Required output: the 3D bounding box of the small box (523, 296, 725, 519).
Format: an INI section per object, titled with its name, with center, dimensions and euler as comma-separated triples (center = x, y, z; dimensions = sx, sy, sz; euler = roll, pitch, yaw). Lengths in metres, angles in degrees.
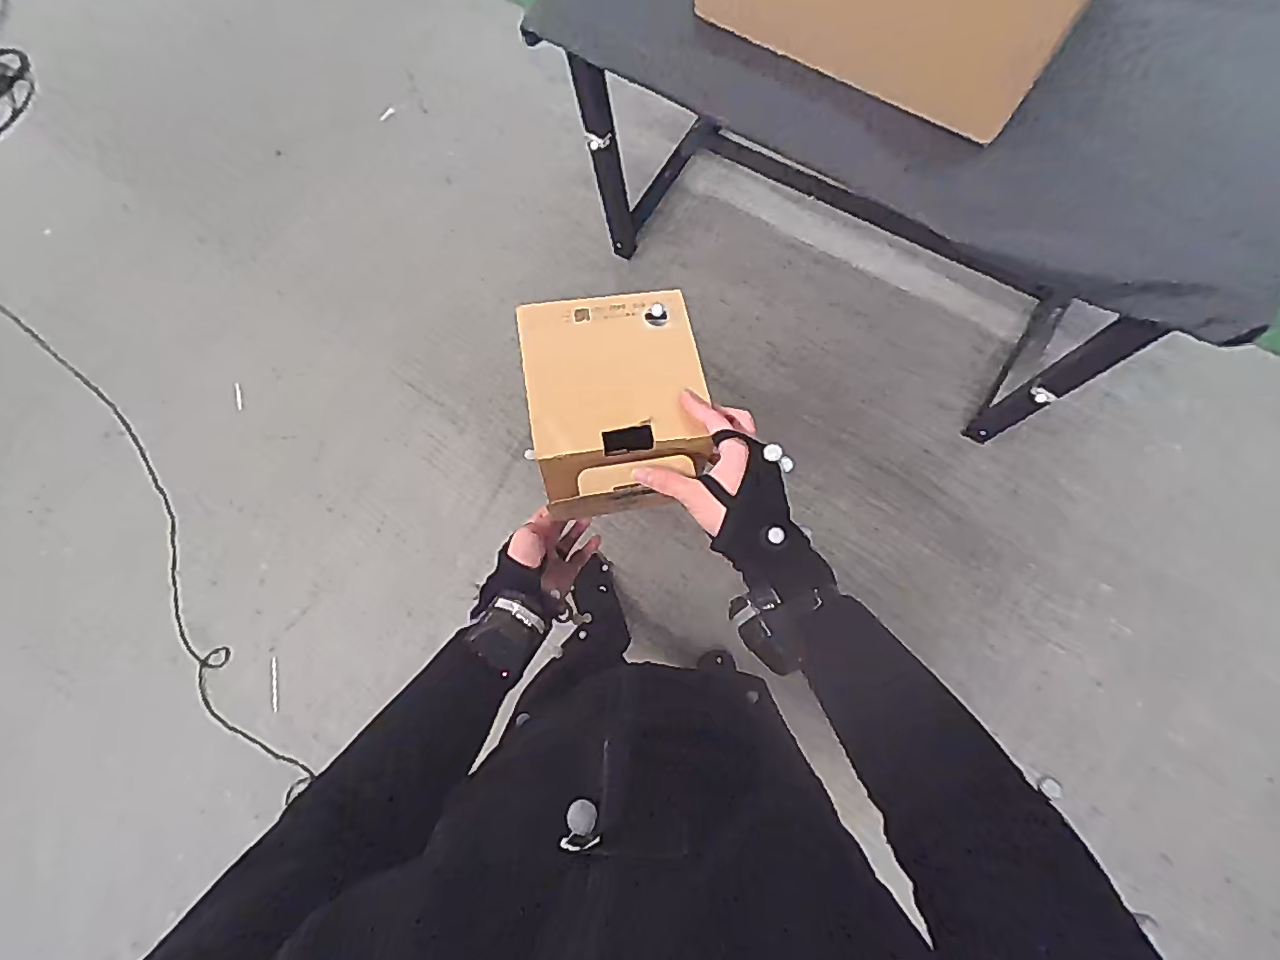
[small box]
center = -0.026, -0.075, 0.568
dimensions = 0.168, 0.179, 0.176
euler = -7, 68, -9
